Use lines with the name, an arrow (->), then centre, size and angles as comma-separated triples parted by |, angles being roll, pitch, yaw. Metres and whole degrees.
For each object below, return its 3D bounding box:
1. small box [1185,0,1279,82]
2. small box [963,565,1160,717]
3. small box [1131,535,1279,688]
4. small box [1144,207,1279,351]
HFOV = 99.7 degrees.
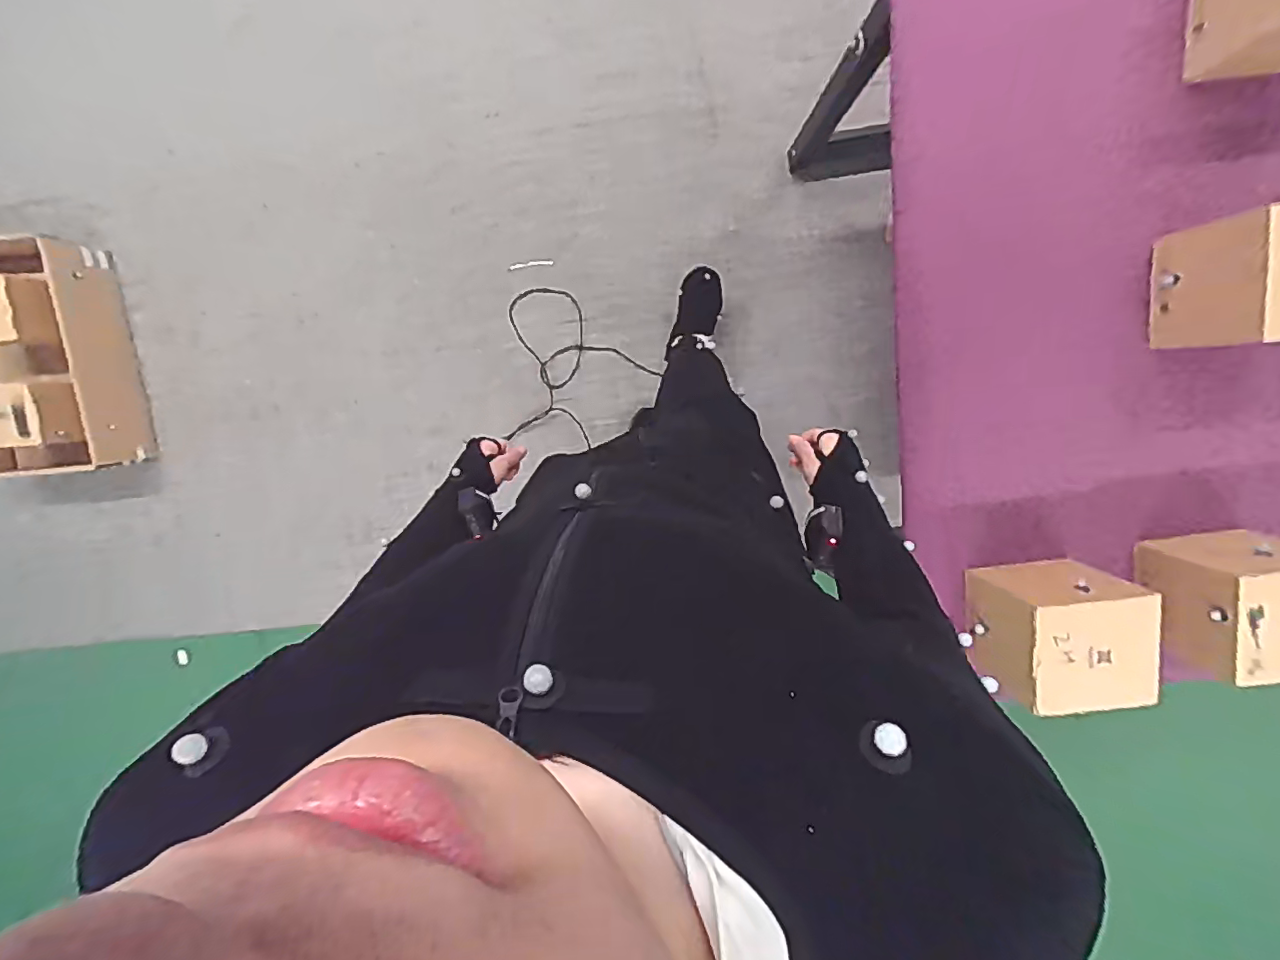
small box -> 0.852, -0.636, 0.679 | 0.179, 0.176, 0.168 | -5, 100, 3
small box -> 0.635, 0.237, 0.834 | 0.179, 0.176, 0.168 | -6, 98, 1
small box -> 0.908, 0.190, 0.824 | 0.179, 0.176, 0.168 | -8, 99, 2
small box -> 0.862, -0.274, 0.746 | 0.179, 0.176, 0.168 | -6, 99, 3
